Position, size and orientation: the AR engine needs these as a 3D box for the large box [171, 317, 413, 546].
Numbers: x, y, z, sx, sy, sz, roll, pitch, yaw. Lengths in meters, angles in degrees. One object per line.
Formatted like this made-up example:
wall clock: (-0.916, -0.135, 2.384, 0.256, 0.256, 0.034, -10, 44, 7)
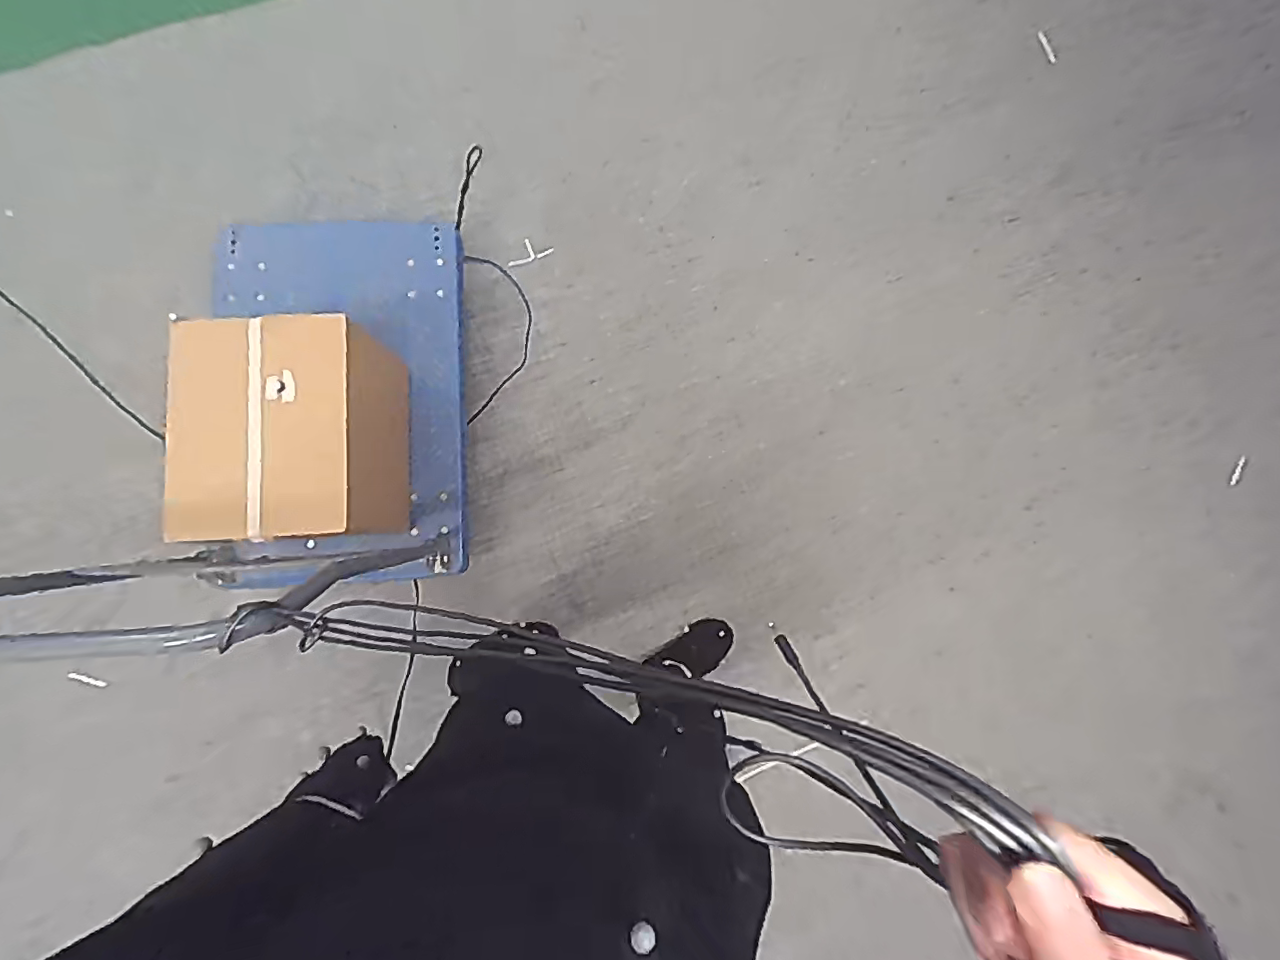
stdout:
large box: (-0.685, -0.077, 1.119, 0.320, 0.320, 0.408, -3, 83, -4)
